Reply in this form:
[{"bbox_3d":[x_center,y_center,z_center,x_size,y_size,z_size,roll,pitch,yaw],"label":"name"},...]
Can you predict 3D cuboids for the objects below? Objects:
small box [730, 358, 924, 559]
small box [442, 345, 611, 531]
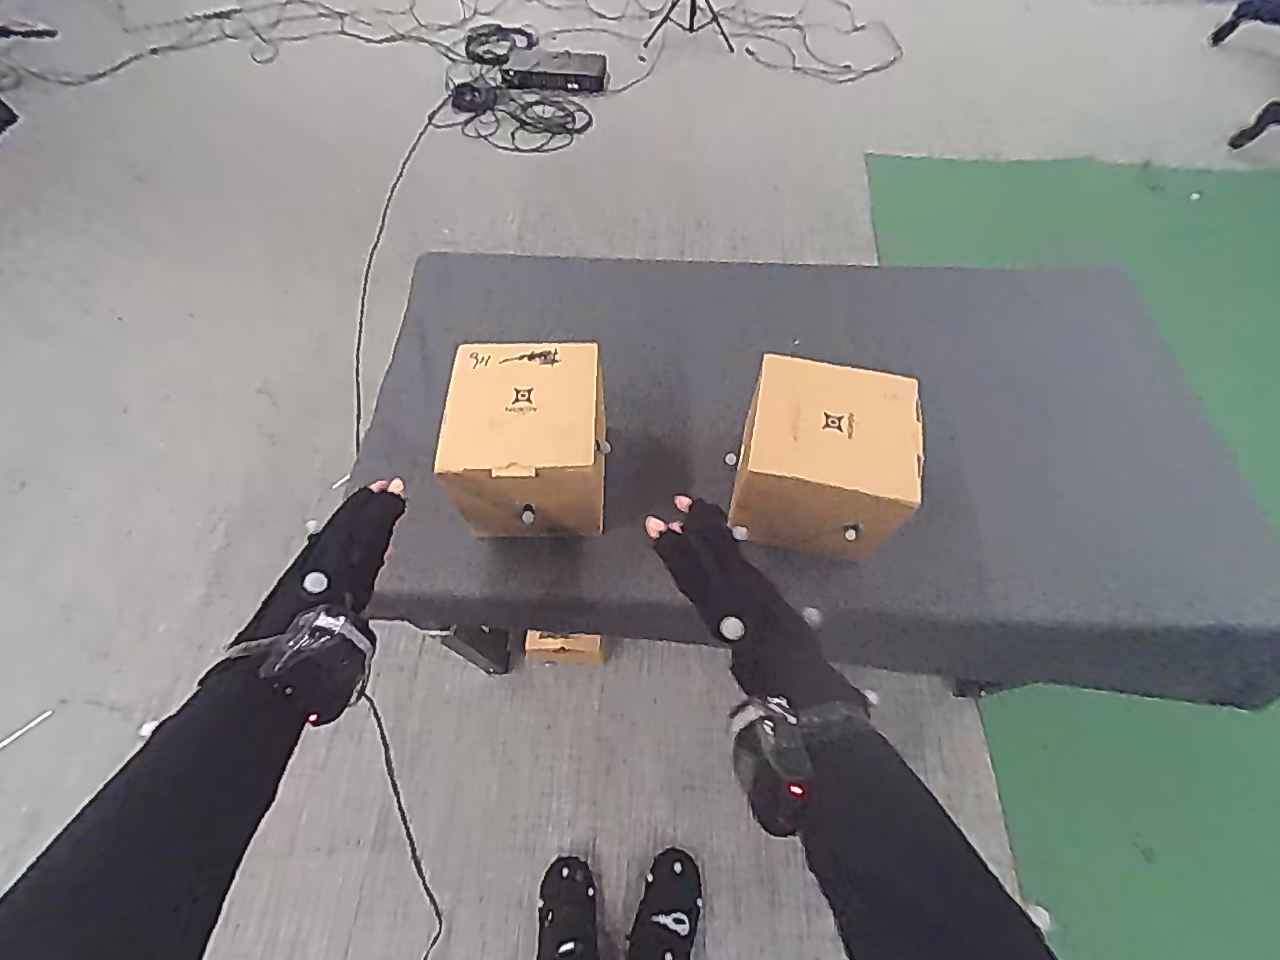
[{"bbox_3d":[0.216,-0.018,0.654,0.179,0.176,0.168,11,61,7],"label":"small box"},{"bbox_3d":[-0.123,-0.044,0.666,0.168,0.176,0.179,0,61,0],"label":"small box"}]
